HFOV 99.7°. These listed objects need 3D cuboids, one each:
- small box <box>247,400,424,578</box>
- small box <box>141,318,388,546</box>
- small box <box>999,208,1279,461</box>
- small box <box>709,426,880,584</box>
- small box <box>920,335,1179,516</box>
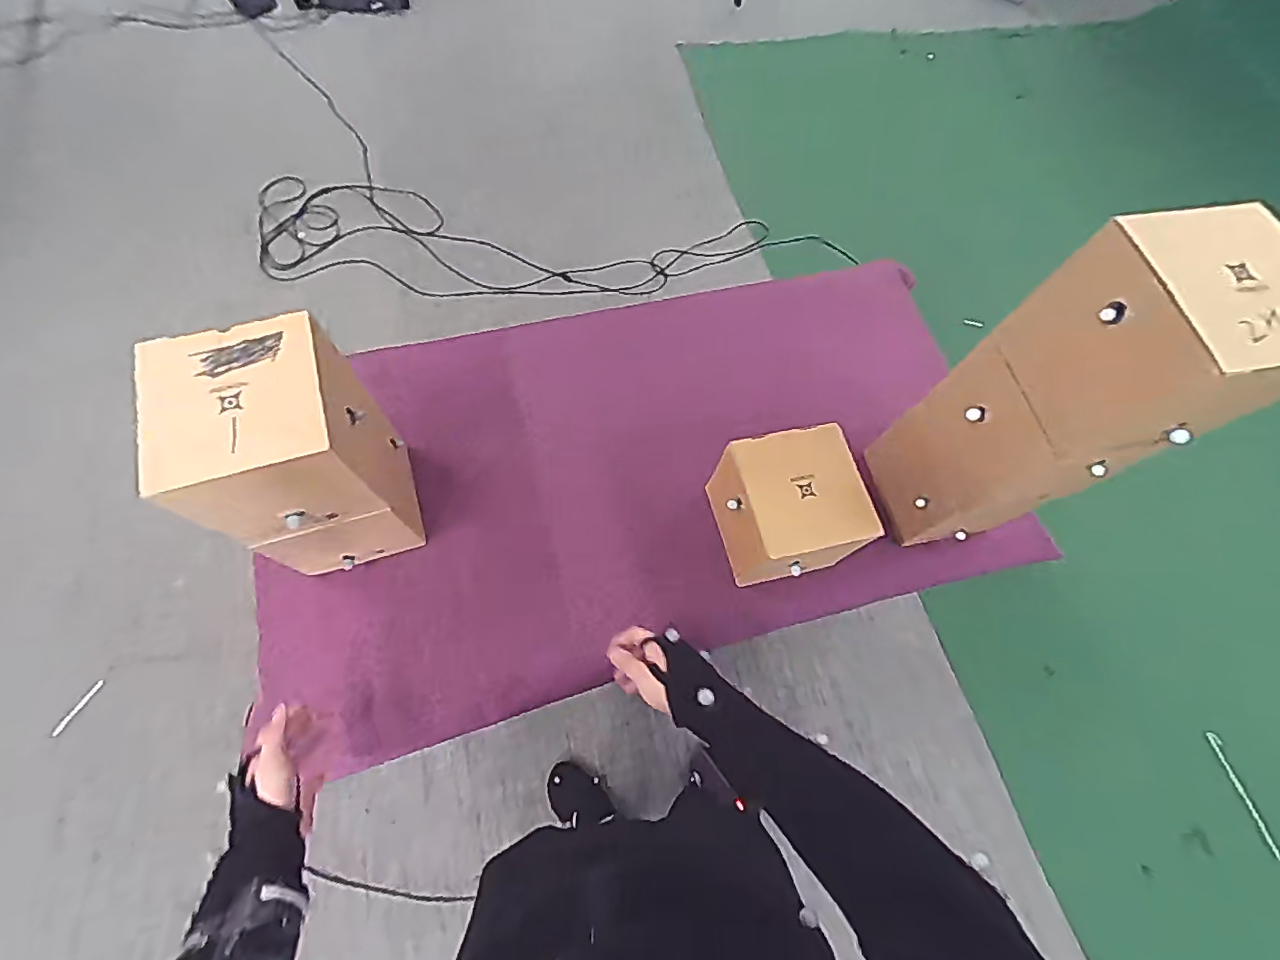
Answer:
[{"bbox_3d":[-0.419,0.018,0.756,0.168,0.176,0.179,-16,70,-11],"label":"small box"},{"bbox_3d":[-0.405,-0.046,0.607,0.168,0.176,0.179,-16,70,-11],"label":"small box"},{"bbox_3d":[0.515,-0.140,0.547,0.168,0.176,0.179,-9,68,-8],"label":"small box"},{"bbox_3d":[0.214,0.046,0.803,0.168,0.176,0.179,-11,67,-9],"label":"small box"},{"bbox_3d":[0.502,-0.073,0.697,0.168,0.176,0.179,-10,67,-8],"label":"small box"}]
